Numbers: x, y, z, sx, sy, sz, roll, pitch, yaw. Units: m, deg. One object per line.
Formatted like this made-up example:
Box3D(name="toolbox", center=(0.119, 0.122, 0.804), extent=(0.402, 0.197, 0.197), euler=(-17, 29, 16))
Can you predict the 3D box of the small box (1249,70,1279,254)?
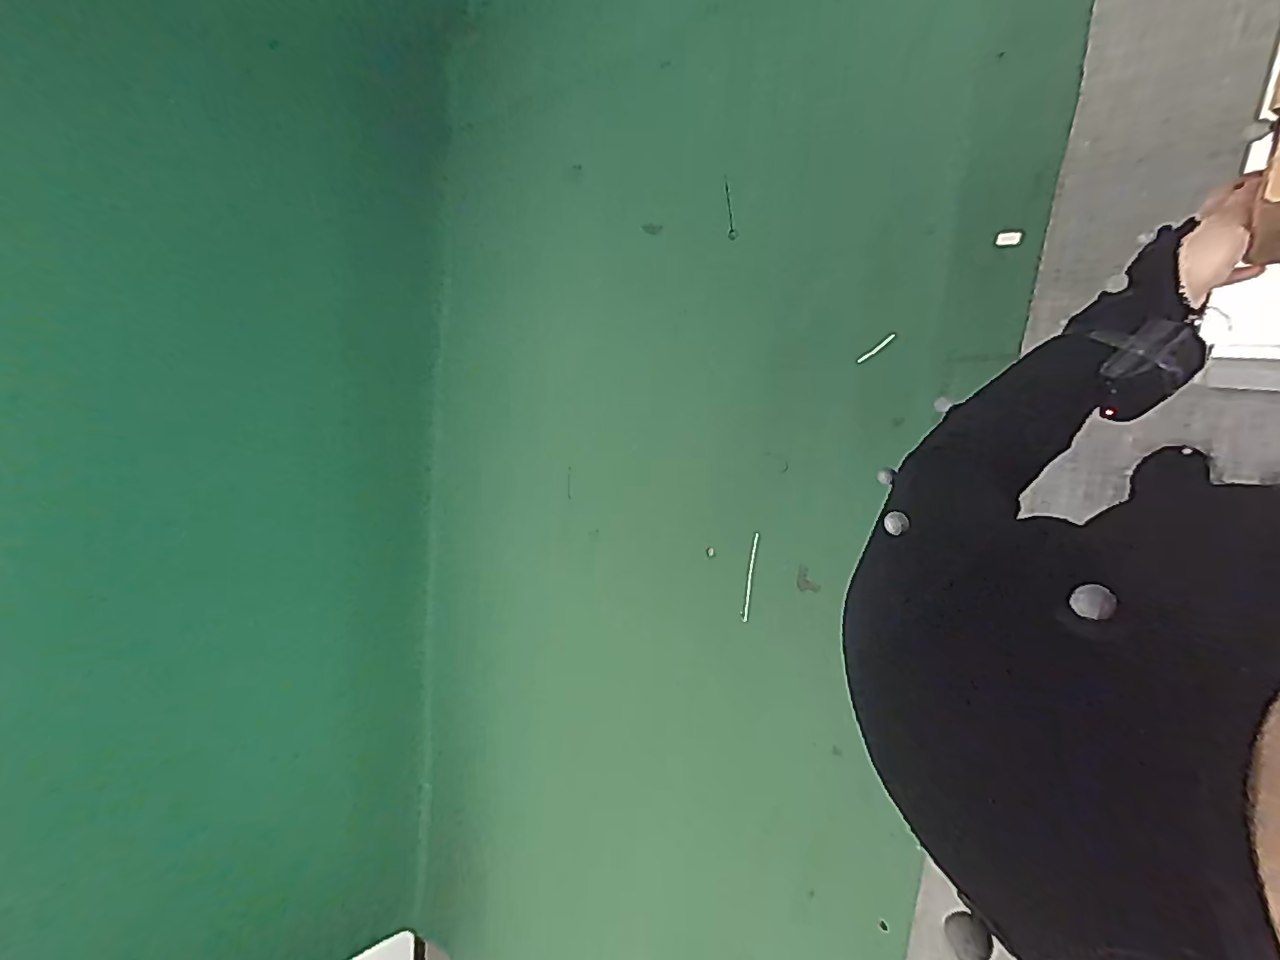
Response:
Box3D(name="small box", center=(0.522, -0.250, 0.332), extent=(0.179, 0.176, 0.168), euler=(14, 103, 46))
